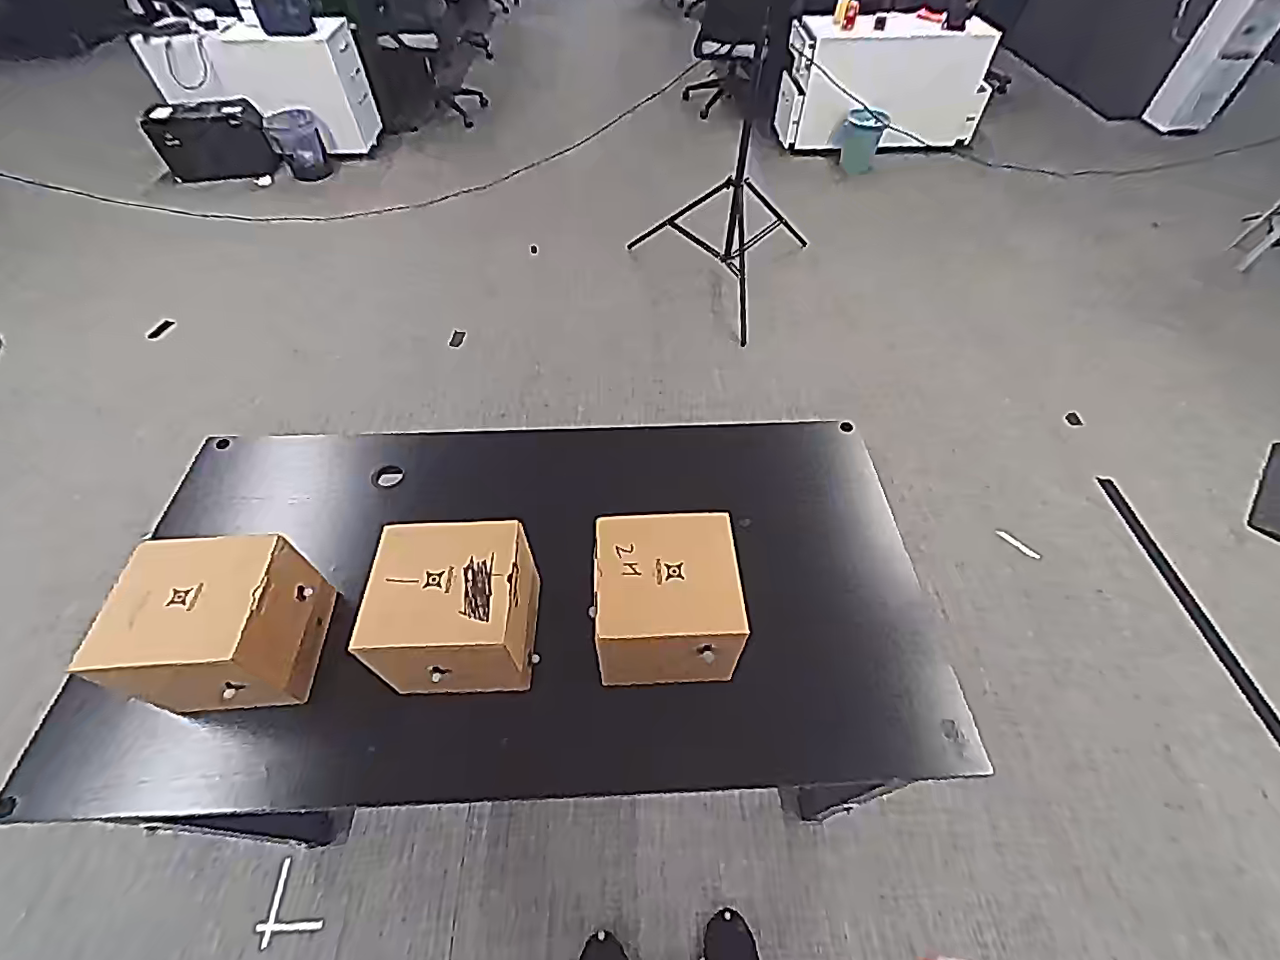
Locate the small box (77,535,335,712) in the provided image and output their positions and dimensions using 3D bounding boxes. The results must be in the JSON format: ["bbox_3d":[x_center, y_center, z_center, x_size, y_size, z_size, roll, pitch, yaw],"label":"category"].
[{"bbox_3d":[-0.532,0.189,0.701,0.179,0.176,0.168,-4,52,-3],"label":"small box"}]

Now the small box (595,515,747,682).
[{"bbox_3d":[0.032,0.161,0.721,0.179,0.176,0.168,-2,52,-1],"label":"small box"}]

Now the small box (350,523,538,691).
[{"bbox_3d":[-0.238,0.171,0.713,0.179,0.176,0.168,-2,52,0],"label":"small box"}]
